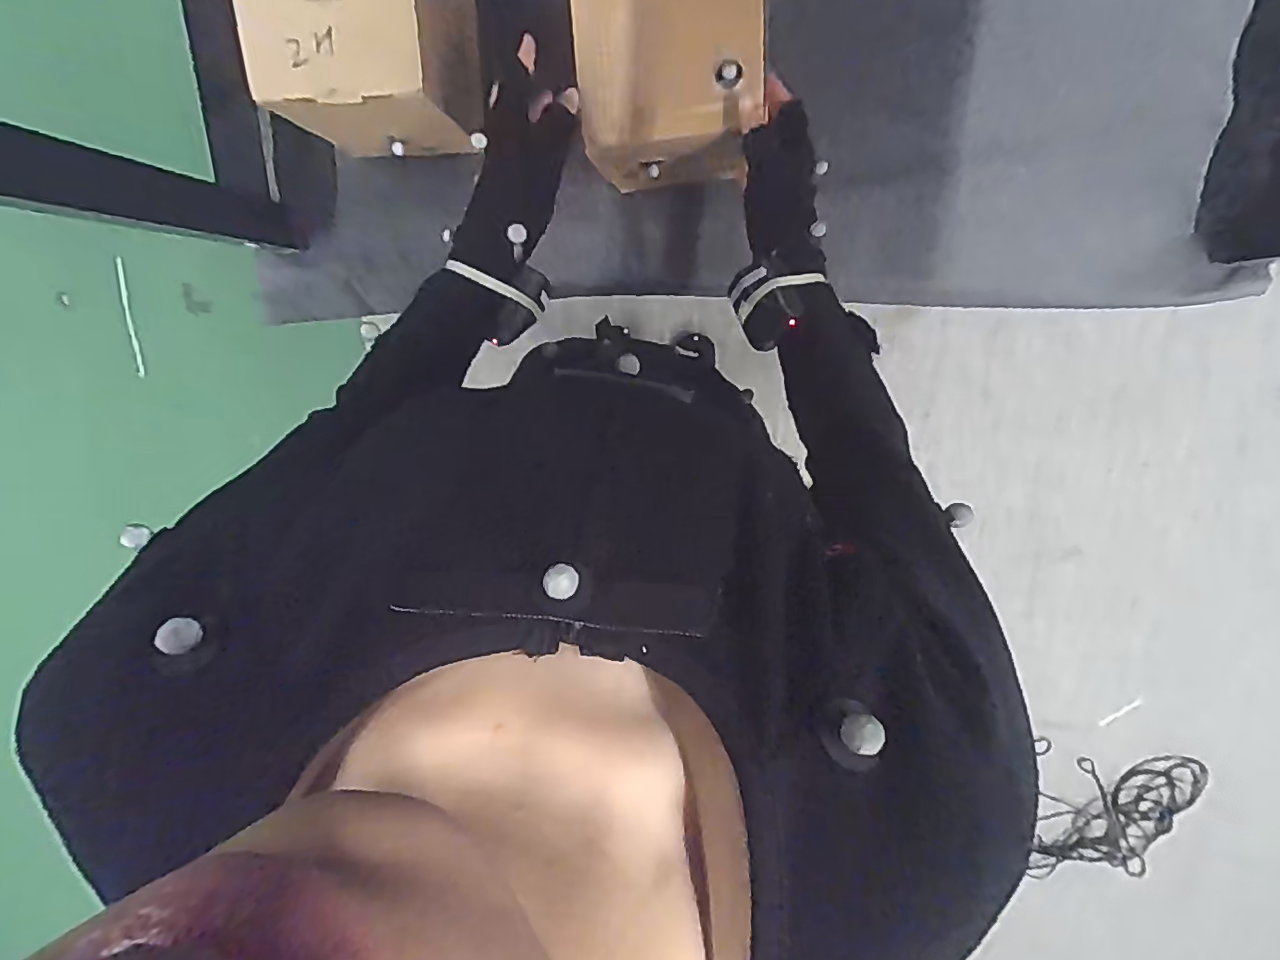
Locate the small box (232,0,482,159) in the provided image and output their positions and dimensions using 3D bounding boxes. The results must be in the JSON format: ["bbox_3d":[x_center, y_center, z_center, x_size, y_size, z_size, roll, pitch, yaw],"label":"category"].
[{"bbox_3d":[-0.270,-0.447,0.544,0.168,0.176,0.179,1,105,4],"label":"small box"}]
